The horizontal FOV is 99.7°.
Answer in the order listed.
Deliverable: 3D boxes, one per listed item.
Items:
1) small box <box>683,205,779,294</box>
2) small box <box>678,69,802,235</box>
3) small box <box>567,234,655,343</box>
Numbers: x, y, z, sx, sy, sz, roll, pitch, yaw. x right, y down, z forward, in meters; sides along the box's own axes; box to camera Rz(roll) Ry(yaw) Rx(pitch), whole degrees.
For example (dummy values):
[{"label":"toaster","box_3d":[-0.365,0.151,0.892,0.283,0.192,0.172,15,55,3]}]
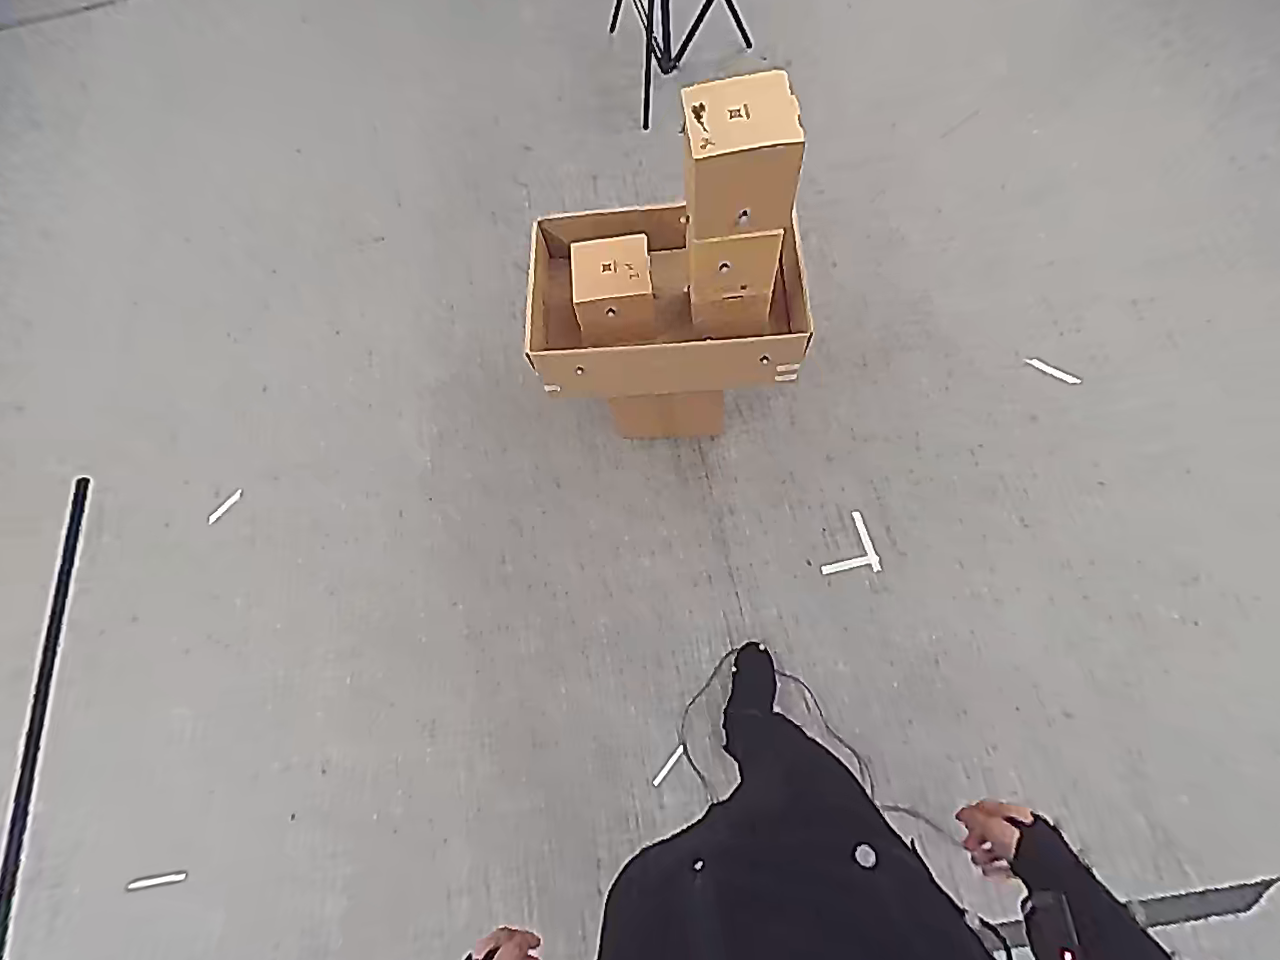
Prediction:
[{"label":"small box","box_3d":[0.174,-0.490,1.075,0.168,0.176,0.179,-5,69,4]},{"label":"small box","box_3d":[0.160,-0.549,0.923,0.179,0.176,0.168,-7,68,3]},{"label":"small box","box_3d":[-0.064,-0.436,1.254,0.179,0.176,0.168,-6,70,3]}]
